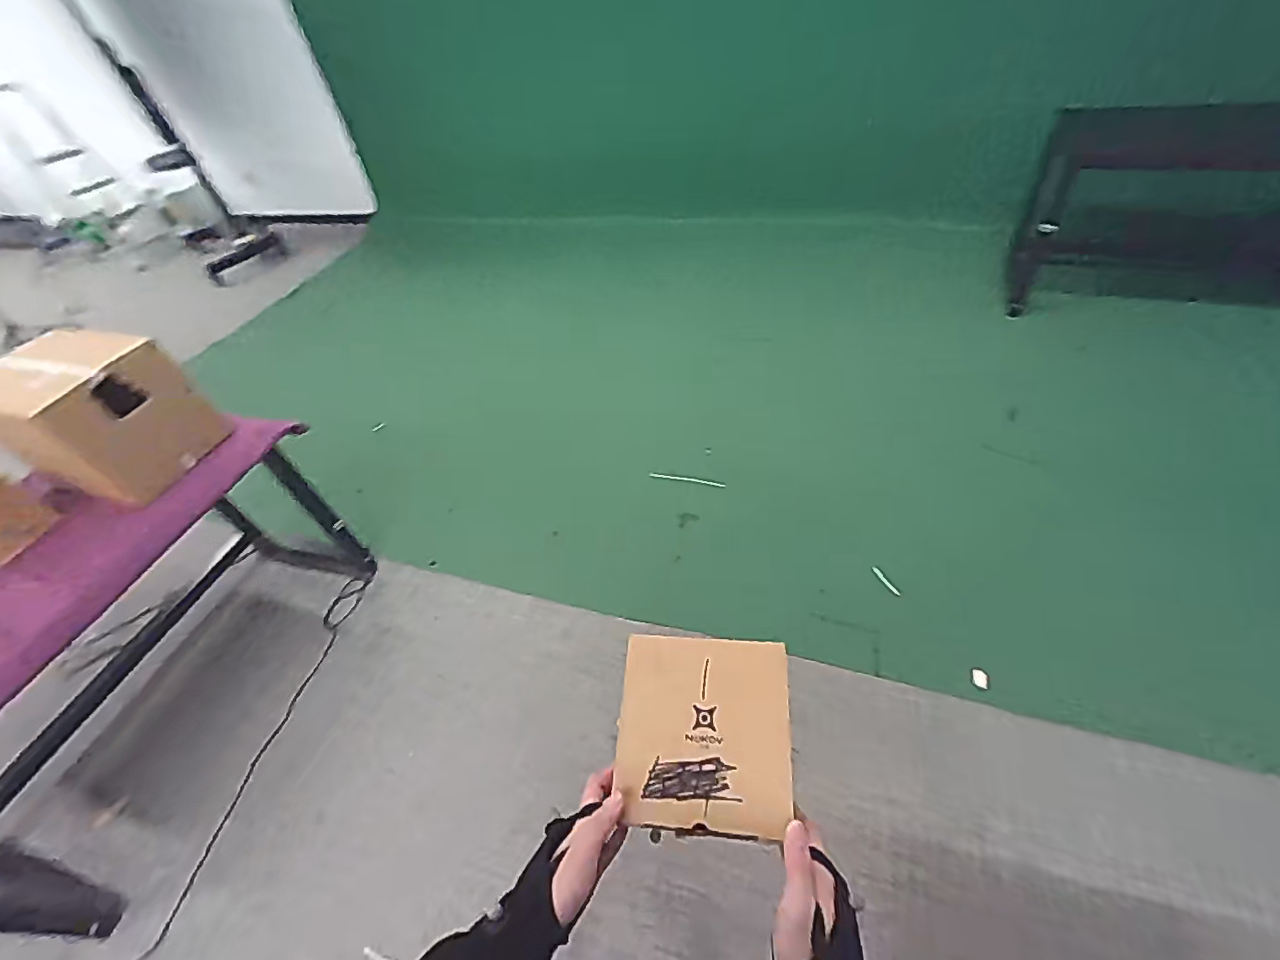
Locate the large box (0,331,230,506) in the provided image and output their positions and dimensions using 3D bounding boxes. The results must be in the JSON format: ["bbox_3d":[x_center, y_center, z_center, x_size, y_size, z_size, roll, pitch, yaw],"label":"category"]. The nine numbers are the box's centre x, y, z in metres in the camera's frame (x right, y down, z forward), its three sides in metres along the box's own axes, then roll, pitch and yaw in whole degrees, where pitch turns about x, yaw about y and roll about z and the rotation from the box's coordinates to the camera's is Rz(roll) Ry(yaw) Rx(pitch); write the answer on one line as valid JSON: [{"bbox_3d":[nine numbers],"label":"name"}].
[{"bbox_3d":[-1.426,-0.165,1.414,0.408,0.320,0.320,9,51,17],"label":"large box"}]

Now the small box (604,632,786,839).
[{"bbox_3d":[0.063,0.278,0.588,0.168,0.176,0.179,0,57,7],"label":"small box"}]
